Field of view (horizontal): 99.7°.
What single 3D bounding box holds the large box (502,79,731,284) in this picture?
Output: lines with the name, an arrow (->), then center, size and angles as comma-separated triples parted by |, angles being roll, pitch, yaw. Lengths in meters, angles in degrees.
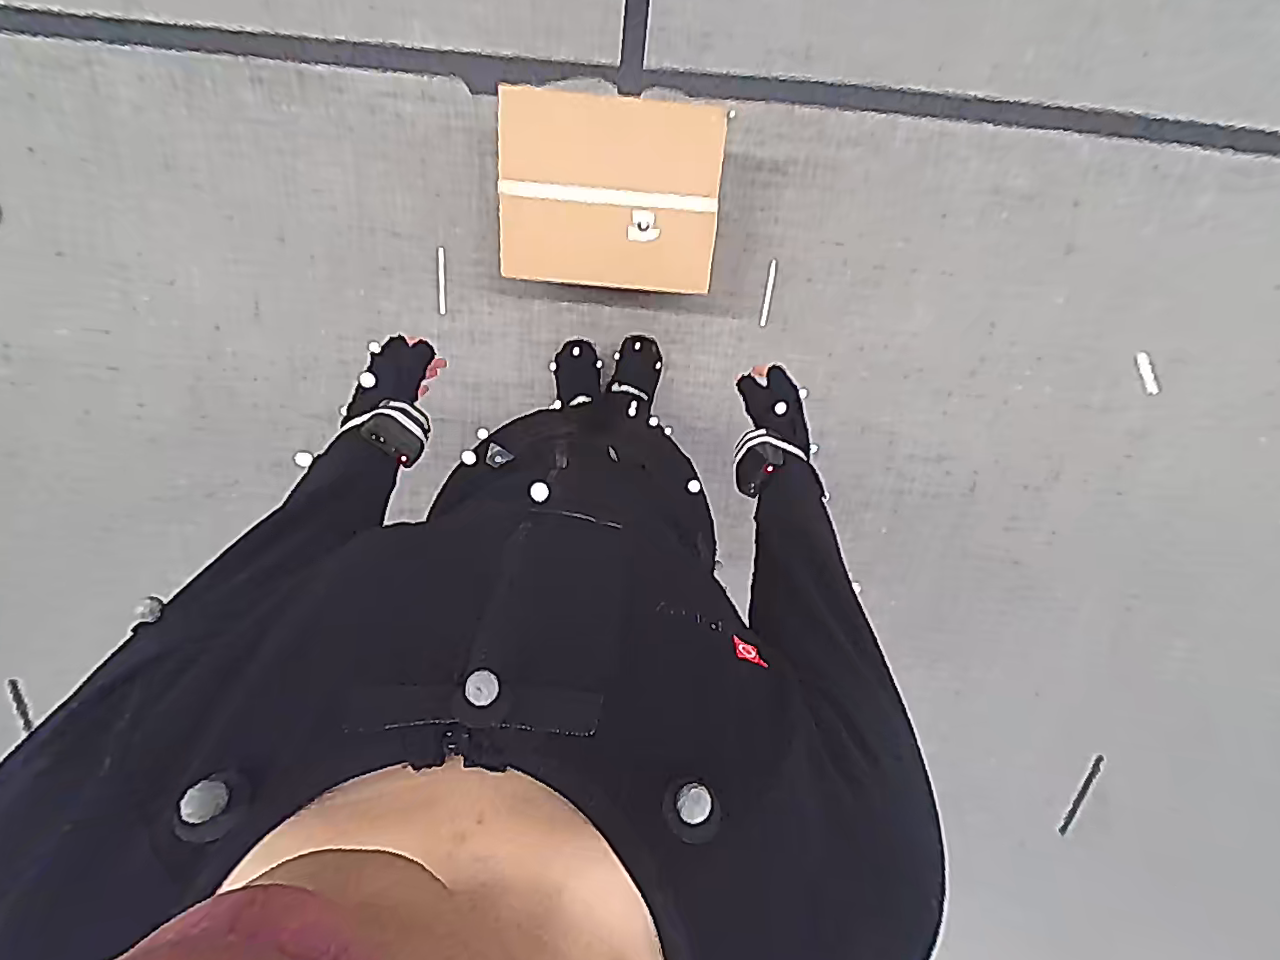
large box -> -0.053, -0.588, 1.124 | 0.408, 0.320, 0.320 | 4, 112, -3
